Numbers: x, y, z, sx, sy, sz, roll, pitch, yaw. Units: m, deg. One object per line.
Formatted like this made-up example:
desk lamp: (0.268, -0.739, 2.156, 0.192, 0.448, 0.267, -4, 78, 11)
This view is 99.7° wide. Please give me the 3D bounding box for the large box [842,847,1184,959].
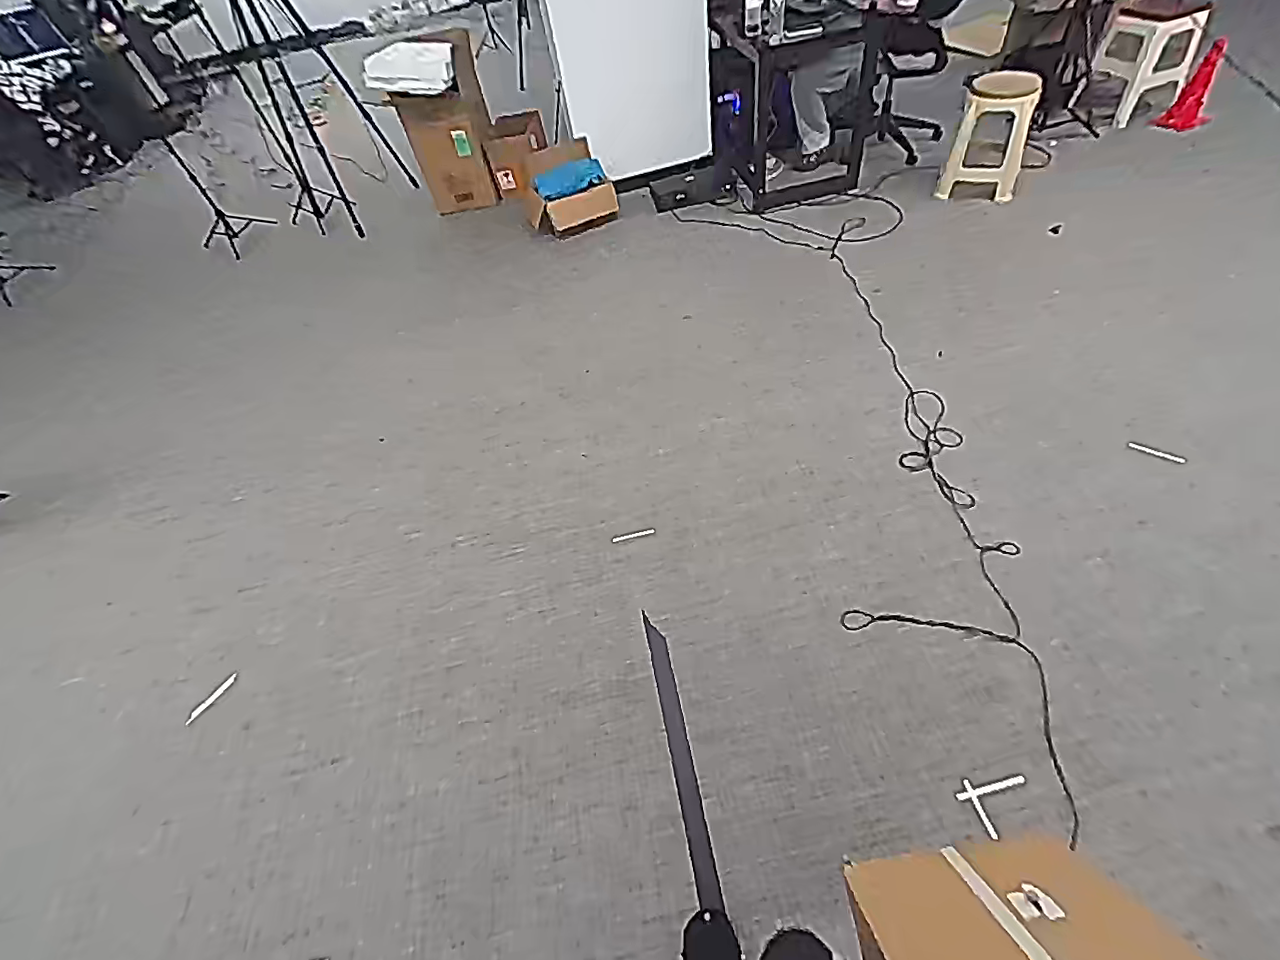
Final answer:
large box: (0.471, 0.698, 0.597, 0.320, 0.408, 0.320, -9, 83, 2)
